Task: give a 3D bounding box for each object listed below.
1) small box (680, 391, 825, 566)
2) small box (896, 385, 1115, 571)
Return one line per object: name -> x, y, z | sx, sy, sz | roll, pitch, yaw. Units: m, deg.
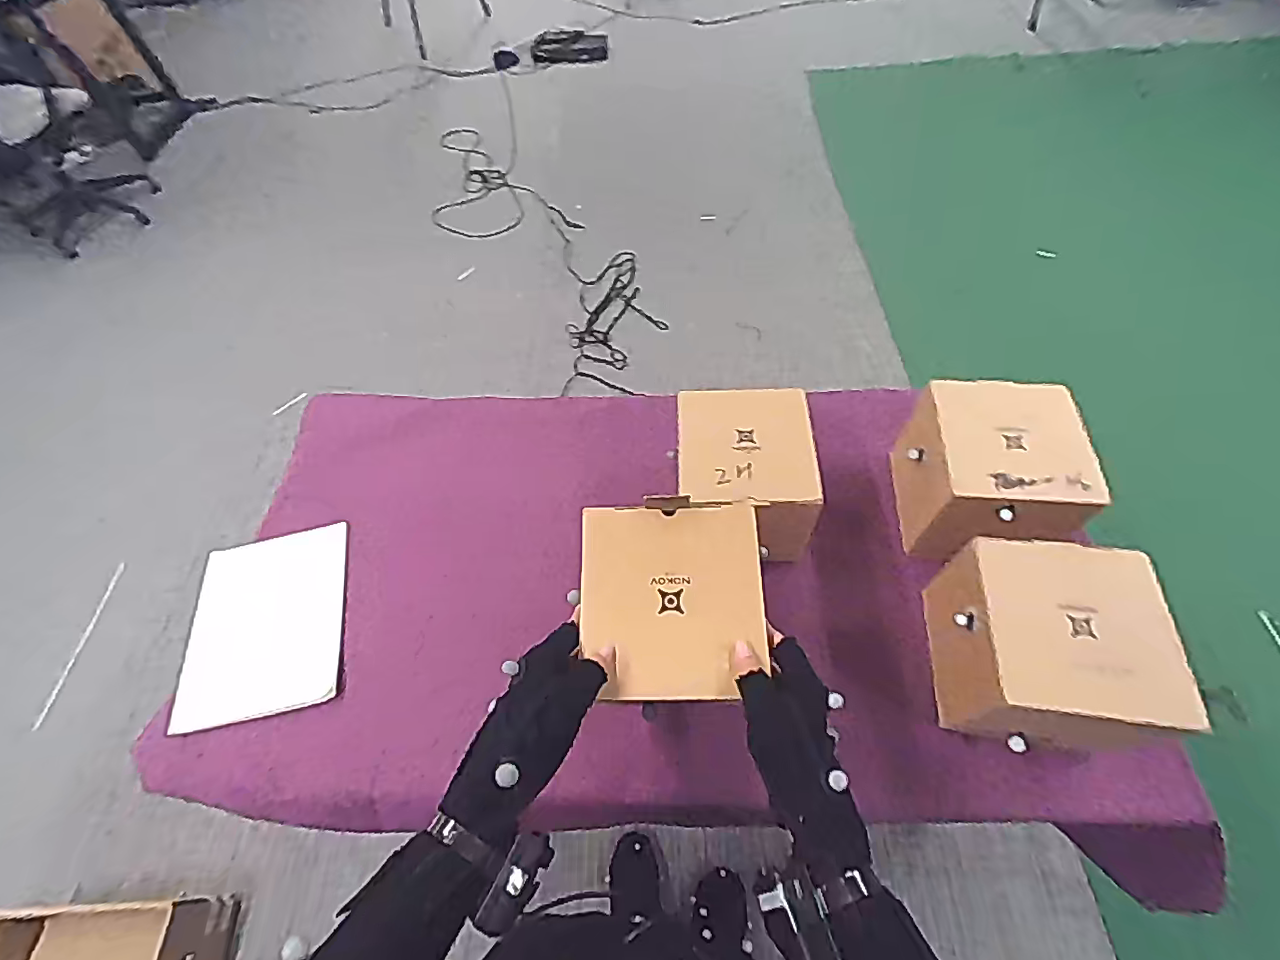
small box -> 0.139, 0.000, 0.731 | 0.168, 0.176, 0.179 | 0, 58, 5
small box -> 0.451, -0.001, 0.707 | 0.168, 0.176, 0.179 | 4, 58, 8
